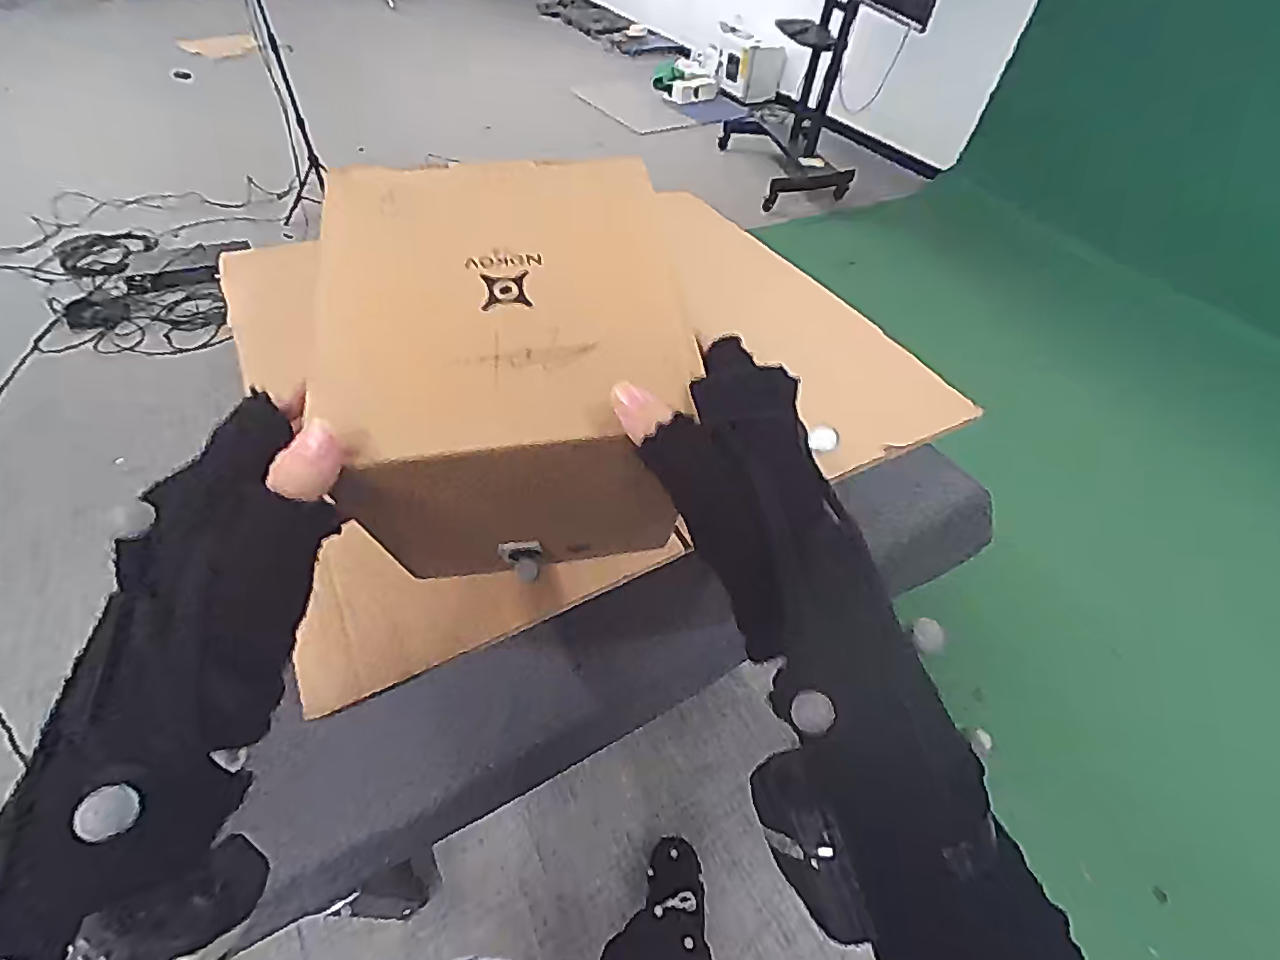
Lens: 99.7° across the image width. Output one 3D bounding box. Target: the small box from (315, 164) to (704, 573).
[{"bbox_3d":[-0.072,-0.059,0.335,0.168,0.176,0.179,-9,66,-8],"label":"small box"}]
